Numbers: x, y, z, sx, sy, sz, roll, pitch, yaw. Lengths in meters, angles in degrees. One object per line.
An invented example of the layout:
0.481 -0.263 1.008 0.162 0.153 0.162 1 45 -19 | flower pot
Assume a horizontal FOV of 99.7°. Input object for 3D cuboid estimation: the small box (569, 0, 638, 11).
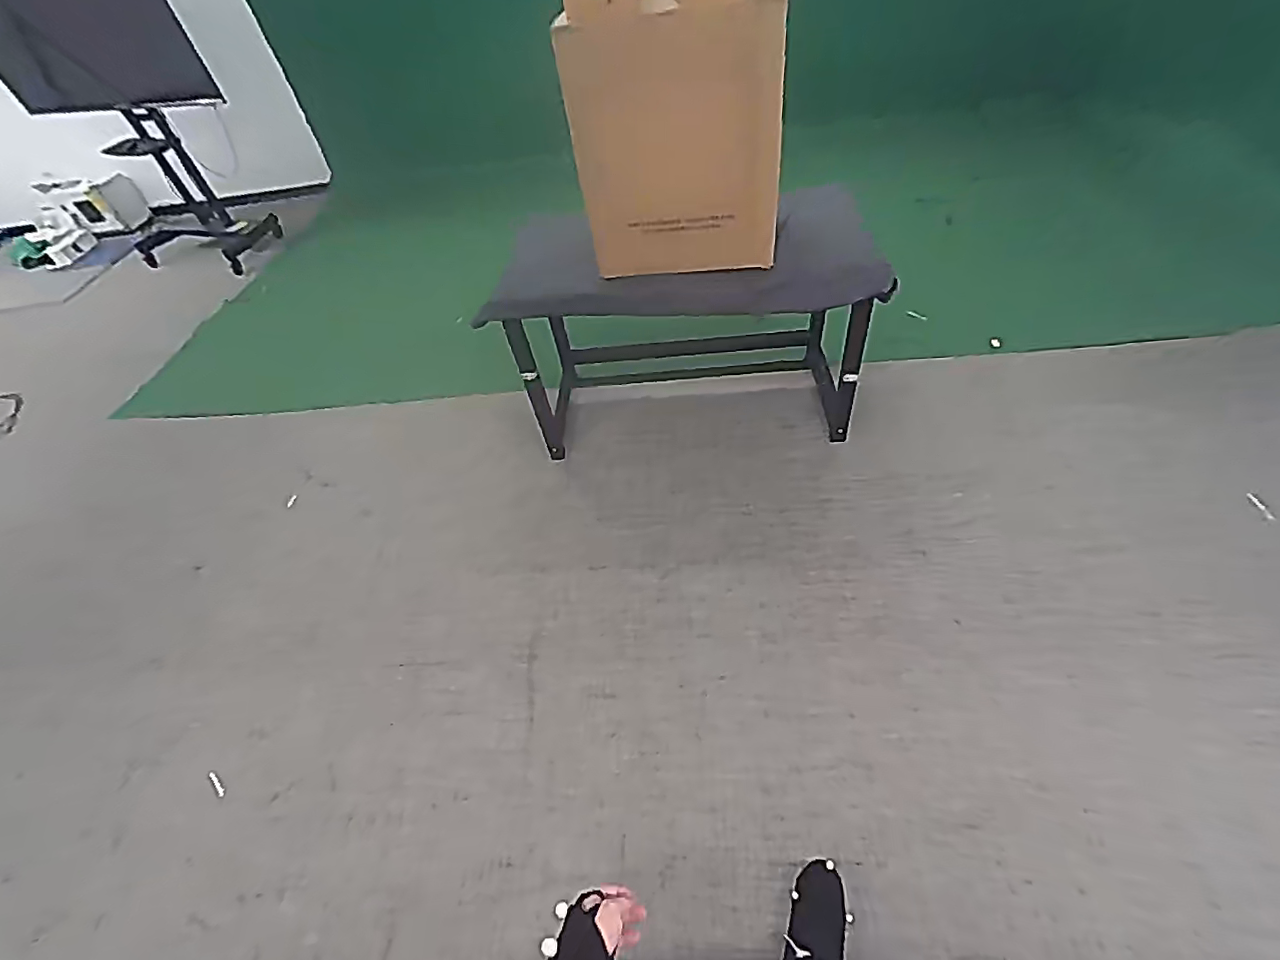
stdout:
-0.084 -1.181 1.211 0.168 0.176 0.179 0 51 11 | small box
